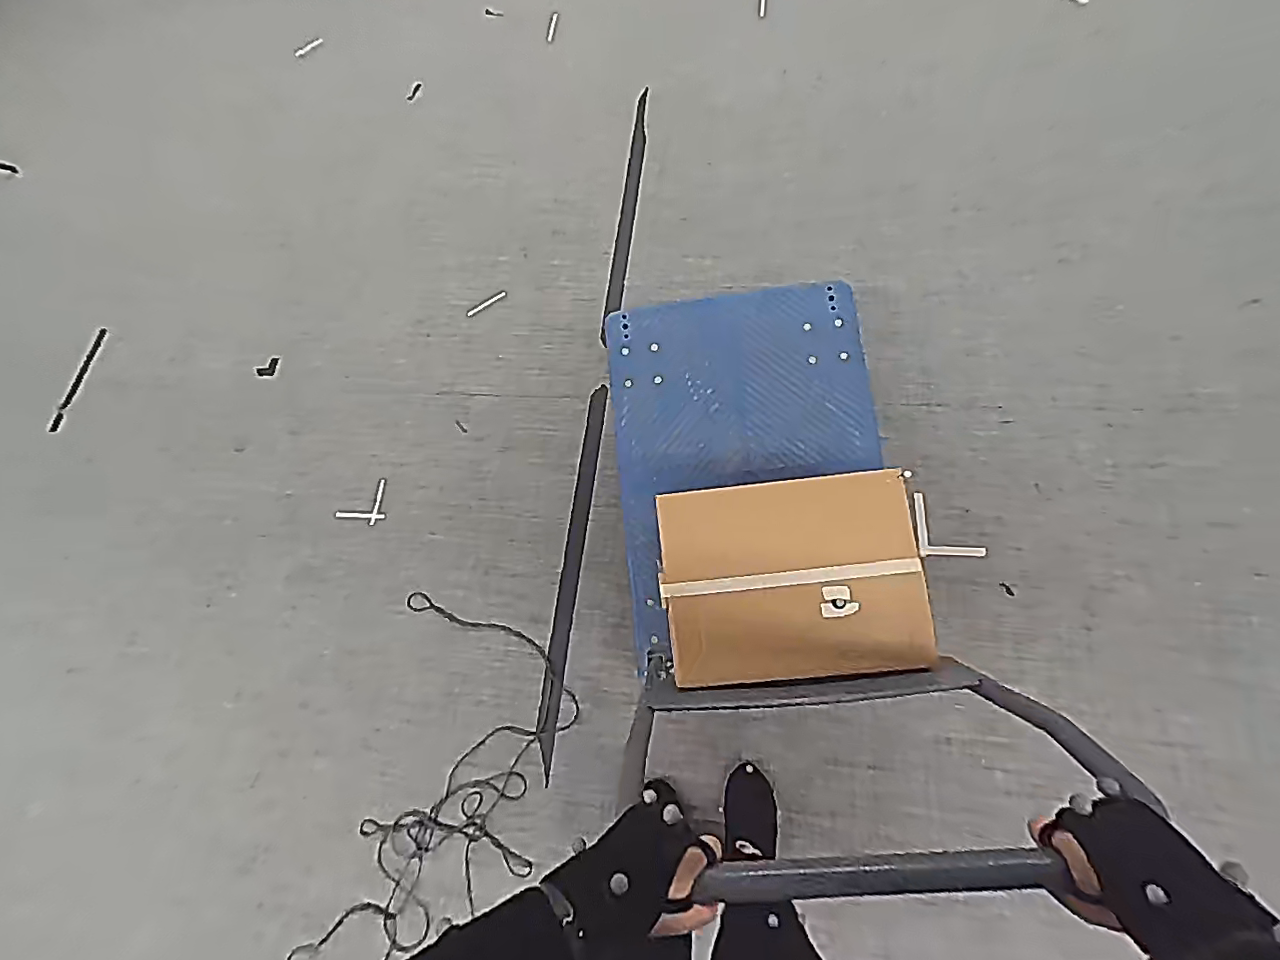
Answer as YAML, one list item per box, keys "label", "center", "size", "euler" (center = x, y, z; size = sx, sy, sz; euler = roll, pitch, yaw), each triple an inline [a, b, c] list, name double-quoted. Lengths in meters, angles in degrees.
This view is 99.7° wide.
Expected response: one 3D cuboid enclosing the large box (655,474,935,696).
- label: "large box"
  center: [0.249, 0.190, 1.007]
  size: [0.408, 0.320, 0.320]
  euler: [-7, 81, 4]
